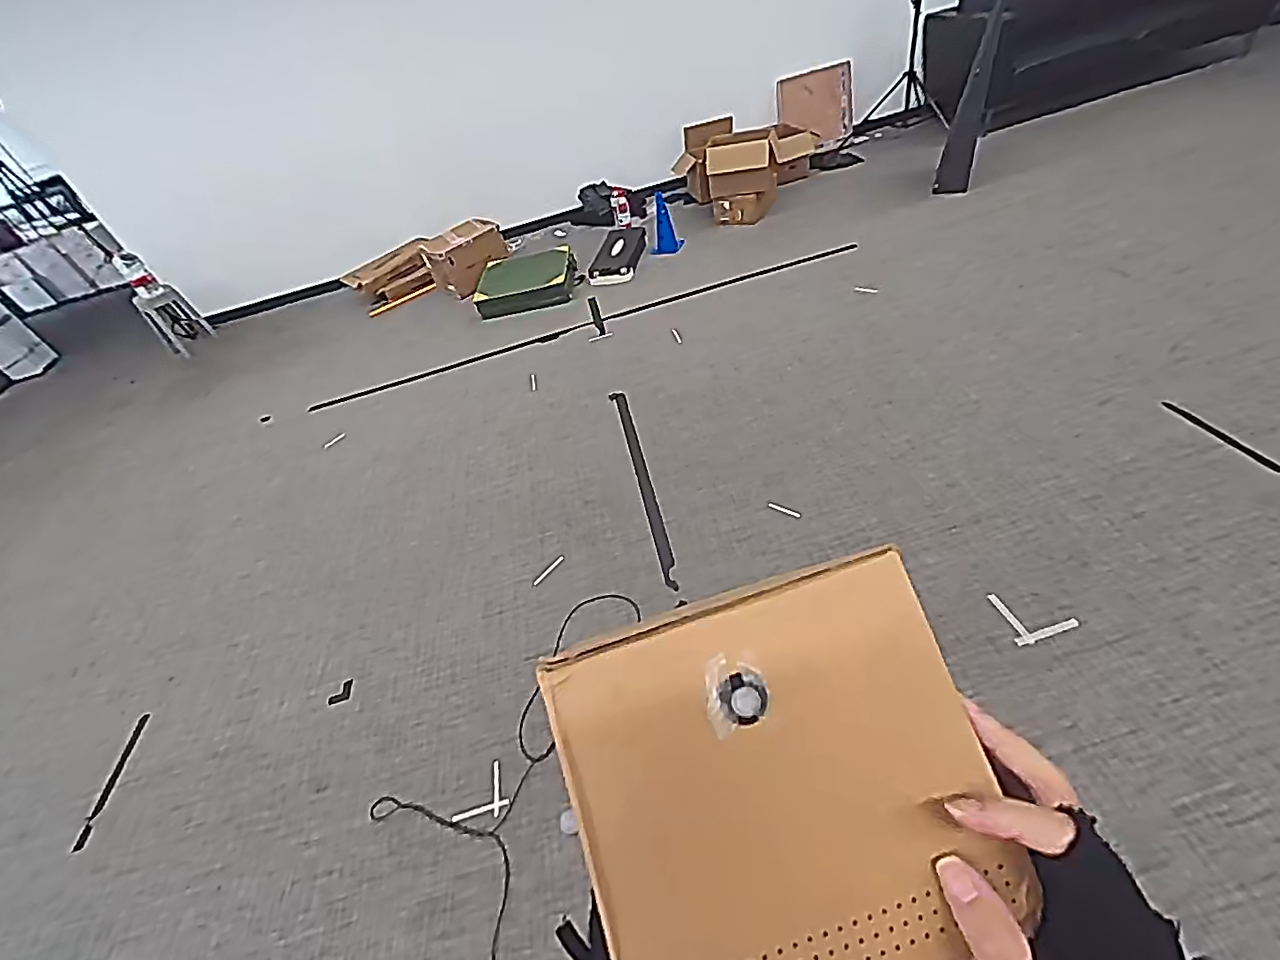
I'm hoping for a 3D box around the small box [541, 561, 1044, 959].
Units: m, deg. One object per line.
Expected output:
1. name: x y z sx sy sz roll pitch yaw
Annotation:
1. small box: 0.064 0.159 0.303 0.179 0.168 0.176 -18 77 -4
